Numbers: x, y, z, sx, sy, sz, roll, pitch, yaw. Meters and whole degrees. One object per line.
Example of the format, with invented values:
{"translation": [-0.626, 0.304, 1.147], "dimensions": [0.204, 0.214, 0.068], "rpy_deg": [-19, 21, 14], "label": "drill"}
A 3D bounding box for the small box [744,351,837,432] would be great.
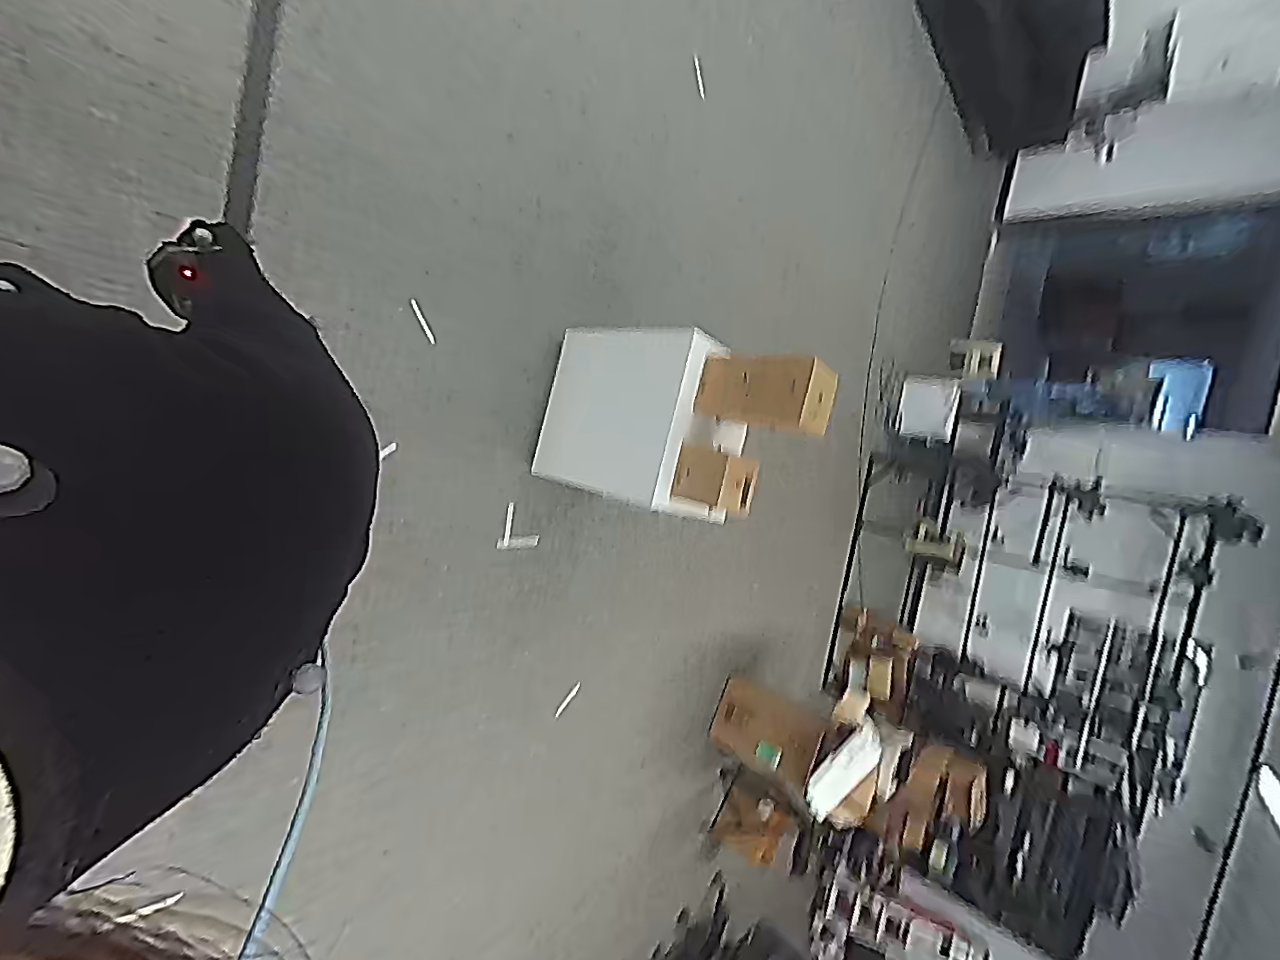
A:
{"translation": [0.401, -0.240, 1.451], "dimensions": [0.168, 0.176, 0.179], "rpy_deg": [14, 90, -49], "label": "small box"}

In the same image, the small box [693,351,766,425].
{"translation": [0.282, -0.269, 1.561], "dimensions": [0.179, 0.176, 0.168], "rpy_deg": [15, 89, -51], "label": "small box"}
